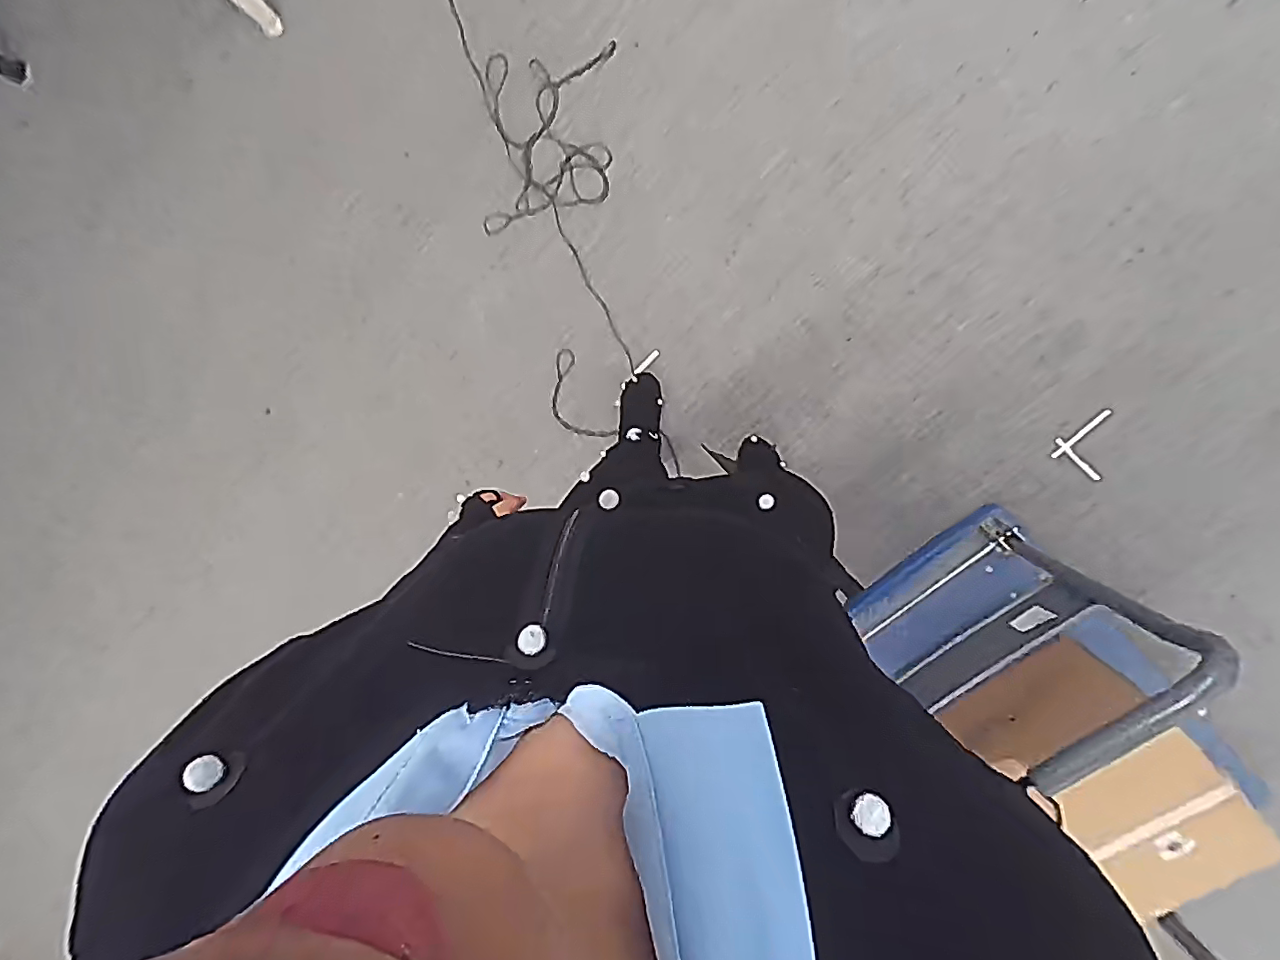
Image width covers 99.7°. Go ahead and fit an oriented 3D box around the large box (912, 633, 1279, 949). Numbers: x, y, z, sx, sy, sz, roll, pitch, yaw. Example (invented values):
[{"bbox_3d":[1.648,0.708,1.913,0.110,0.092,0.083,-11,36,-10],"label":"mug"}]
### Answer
[{"bbox_3d":[0.850,0.590,1.083,0.408,0.320,0.320,-42,90,13],"label":"large box"}]
